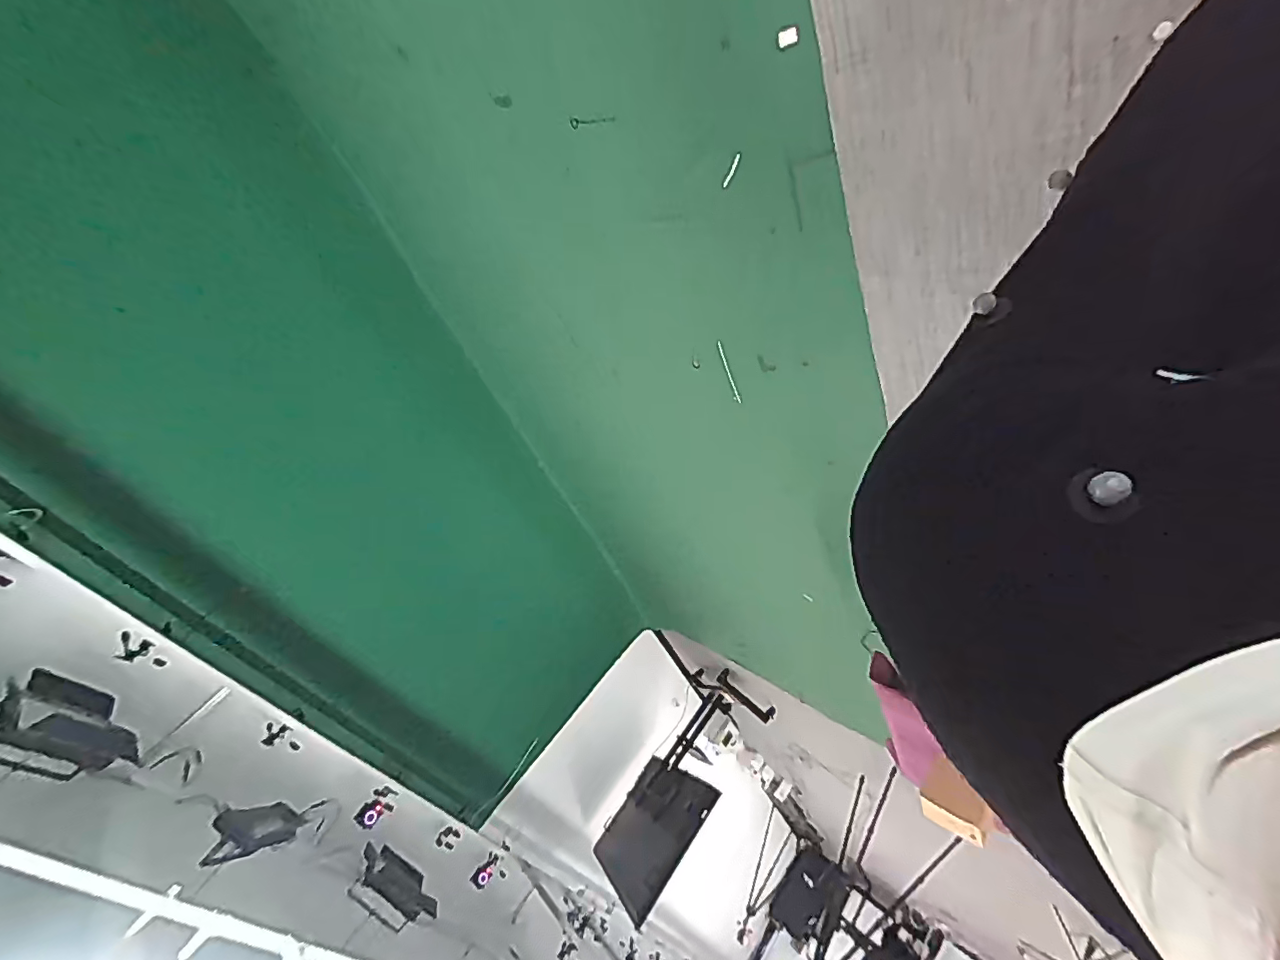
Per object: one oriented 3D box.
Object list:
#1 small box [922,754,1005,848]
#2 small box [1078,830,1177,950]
[{"bbox_3d":[1.025,1.004,1.712,0.179,0.176,0.168,15,144,47],"label":"small box"},{"bbox_3d":[1.281,1.072,1.424,0.168,0.176,0.179,14,143,48],"label":"small box"}]
